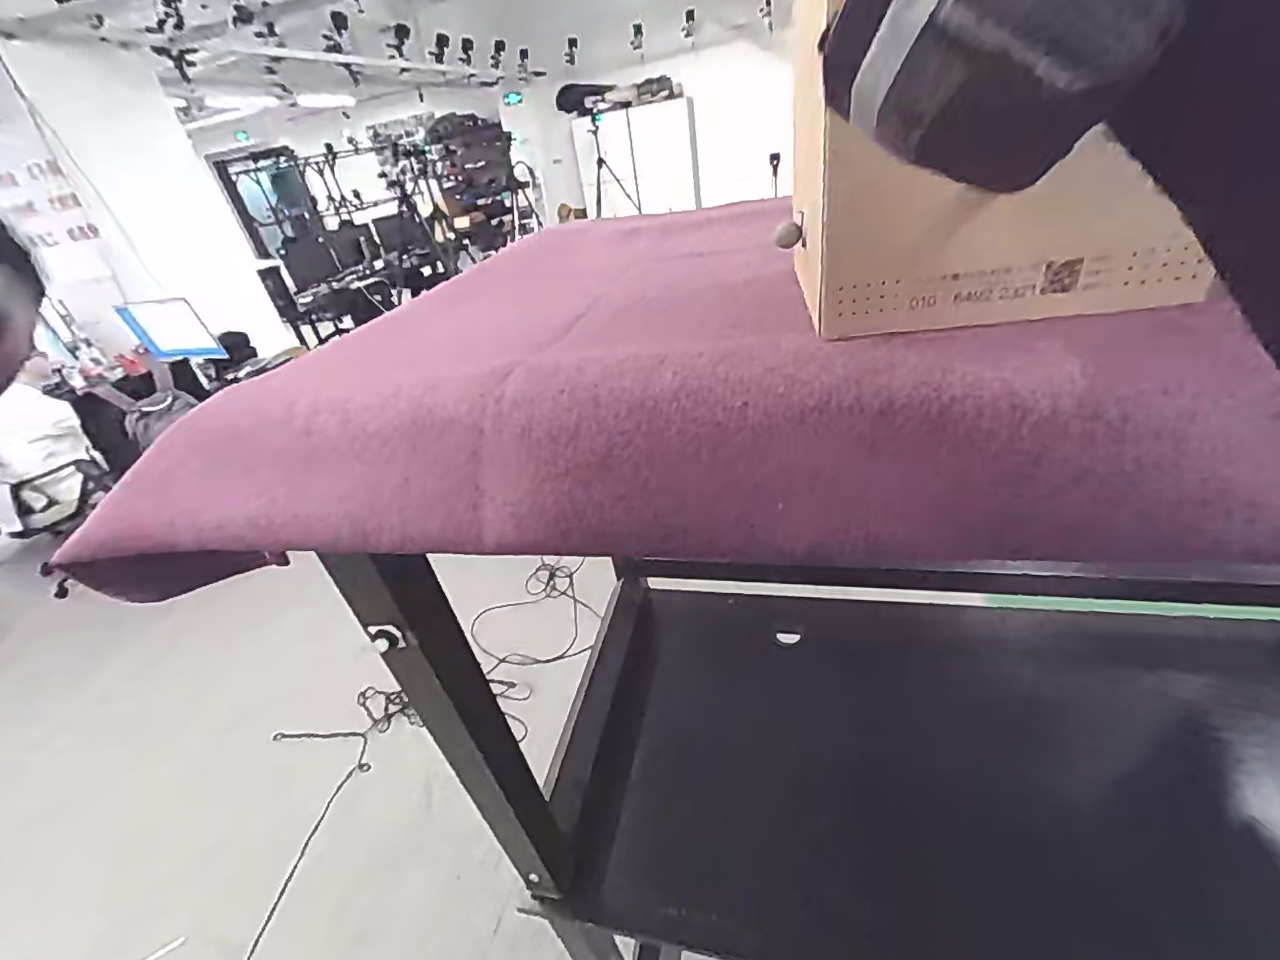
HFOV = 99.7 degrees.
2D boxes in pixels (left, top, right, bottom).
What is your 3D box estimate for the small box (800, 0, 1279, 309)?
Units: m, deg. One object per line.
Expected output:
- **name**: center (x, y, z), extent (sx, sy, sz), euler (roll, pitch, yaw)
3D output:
- **small box**: center (0.175, -0.194, 0.281), extent (0.168, 0.176, 0.179), euler (-2, 33, 12)
